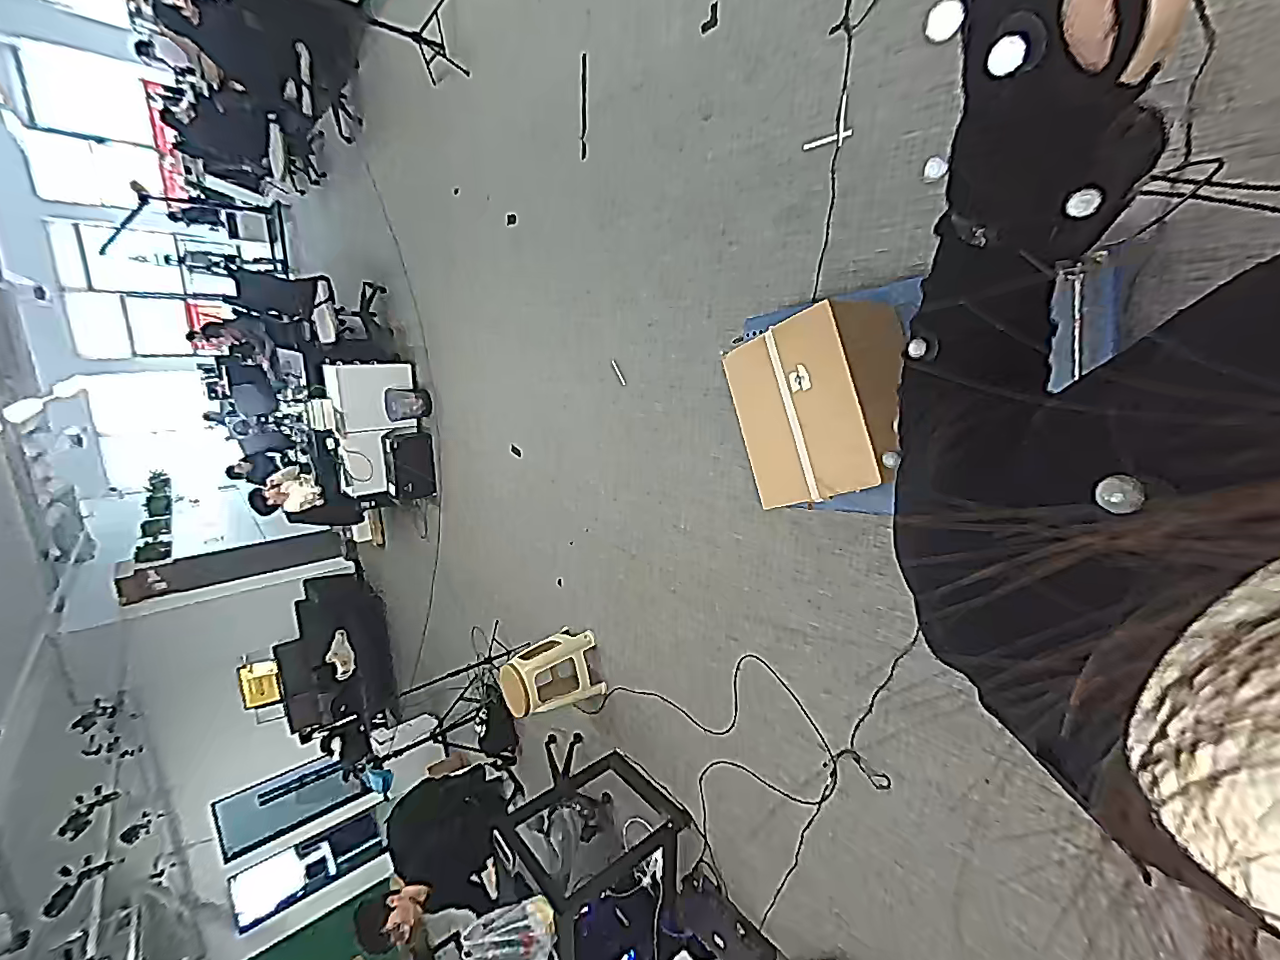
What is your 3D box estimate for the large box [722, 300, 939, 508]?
[{"bbox_3d":[0.459,-0.174,1.316,0.320,0.320,0.408,-19,83,50],"label":"large box"}]
